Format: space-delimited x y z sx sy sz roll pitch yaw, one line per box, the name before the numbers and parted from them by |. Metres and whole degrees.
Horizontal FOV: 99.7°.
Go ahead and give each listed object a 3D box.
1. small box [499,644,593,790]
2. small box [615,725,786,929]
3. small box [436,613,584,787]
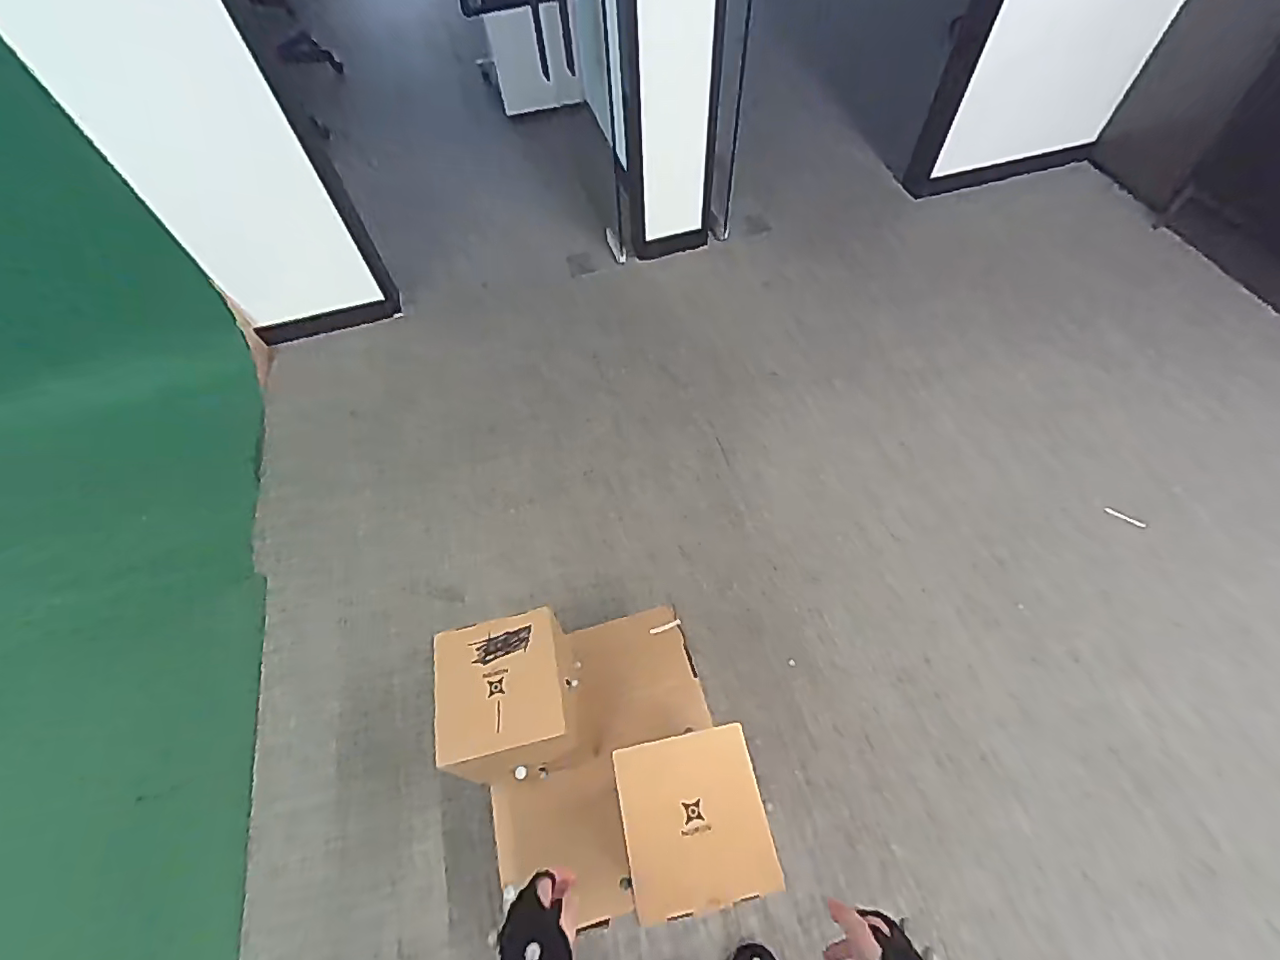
small box | -0.185 0.404 0.924 0.168 0.176 0.179 -15 55 -6
small box | 0.065 0.436 0.691 0.168 0.176 0.179 -11 57 -5
small box | -0.184 0.320 0.781 0.168 0.176 0.179 -13 56 -4
